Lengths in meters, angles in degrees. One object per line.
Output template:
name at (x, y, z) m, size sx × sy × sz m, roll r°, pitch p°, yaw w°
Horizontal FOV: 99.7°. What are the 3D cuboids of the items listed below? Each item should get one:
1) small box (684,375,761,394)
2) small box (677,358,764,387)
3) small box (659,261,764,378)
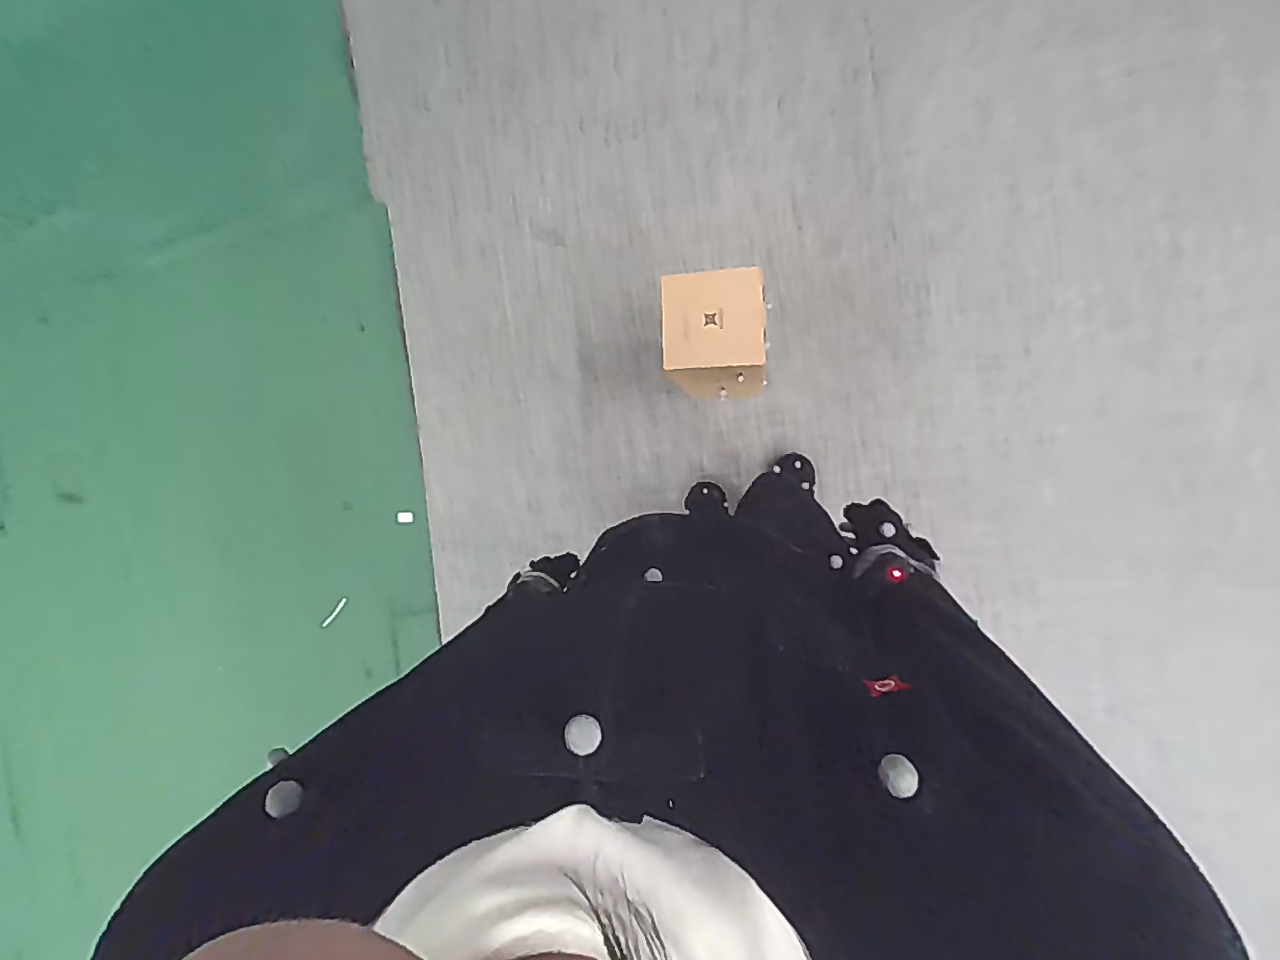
small box at (0.202, -0.303, 1.315) m, size 0.179 × 0.176 × 0.168 m, roll -2°, pitch 92°, yaw 12°
small box at (0.169, -0.295, 1.158) m, size 0.179 × 0.176 × 0.168 m, roll -4°, pitch 93°, yaw 12°
small box at (0.136, -0.285, 0.997) m, size 0.179 × 0.176 × 0.168 m, roll -2°, pitch 91°, yaw 13°
